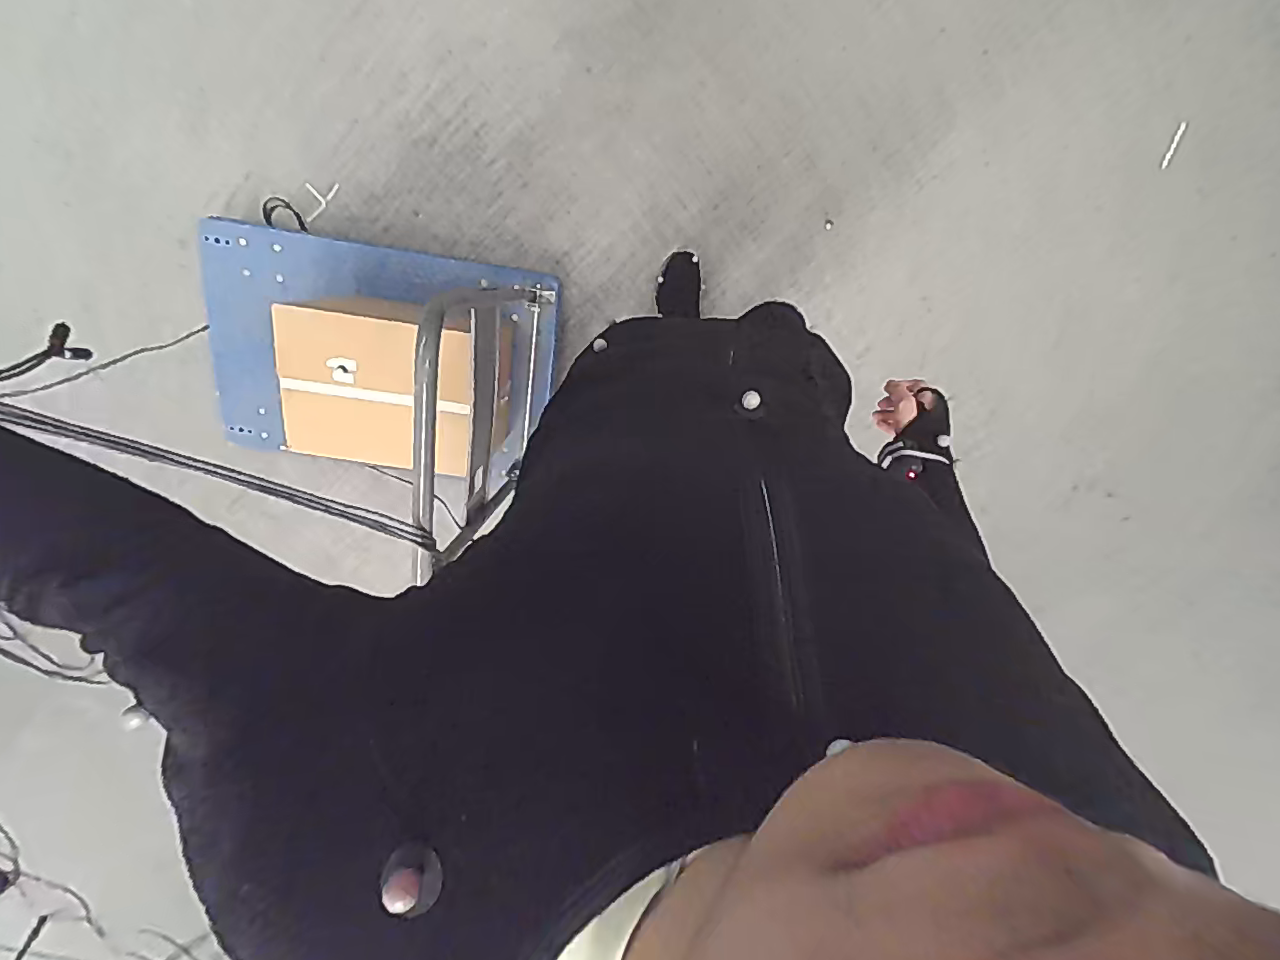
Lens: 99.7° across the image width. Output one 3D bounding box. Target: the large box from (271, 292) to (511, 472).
[{"bbox_3d":[-0.535,-0.239,1.246,0.408,0.320,0.320,9,112,-1],"label":"large box"}]
